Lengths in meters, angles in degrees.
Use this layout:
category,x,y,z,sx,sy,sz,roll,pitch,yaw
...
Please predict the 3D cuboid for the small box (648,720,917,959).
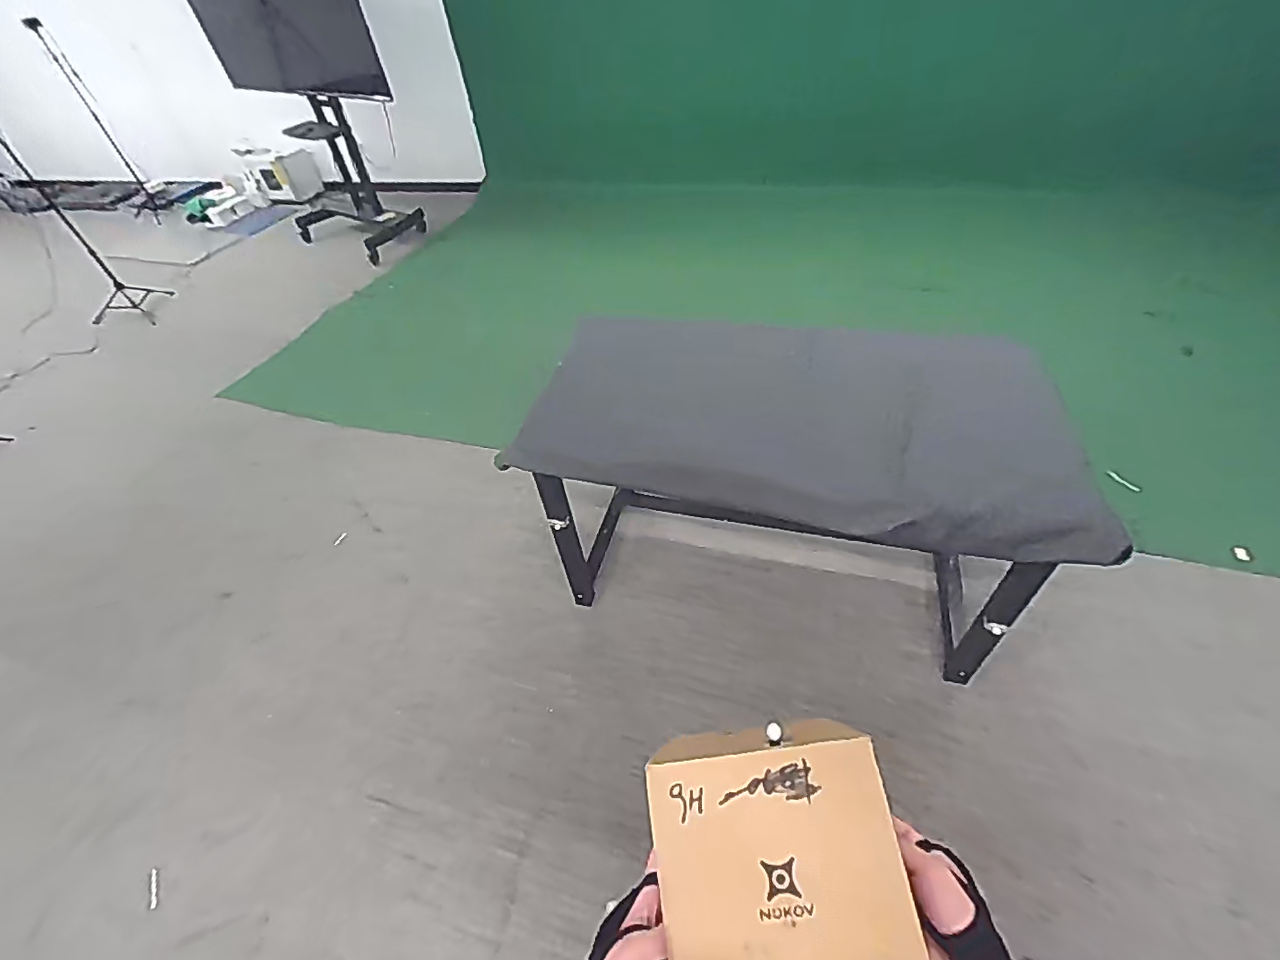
category,x,y,z,sx,sy,sz,roll,pitch,yaw
small box,0.107,0.310,0.447,0.168,0.176,0.179,-10,71,5
